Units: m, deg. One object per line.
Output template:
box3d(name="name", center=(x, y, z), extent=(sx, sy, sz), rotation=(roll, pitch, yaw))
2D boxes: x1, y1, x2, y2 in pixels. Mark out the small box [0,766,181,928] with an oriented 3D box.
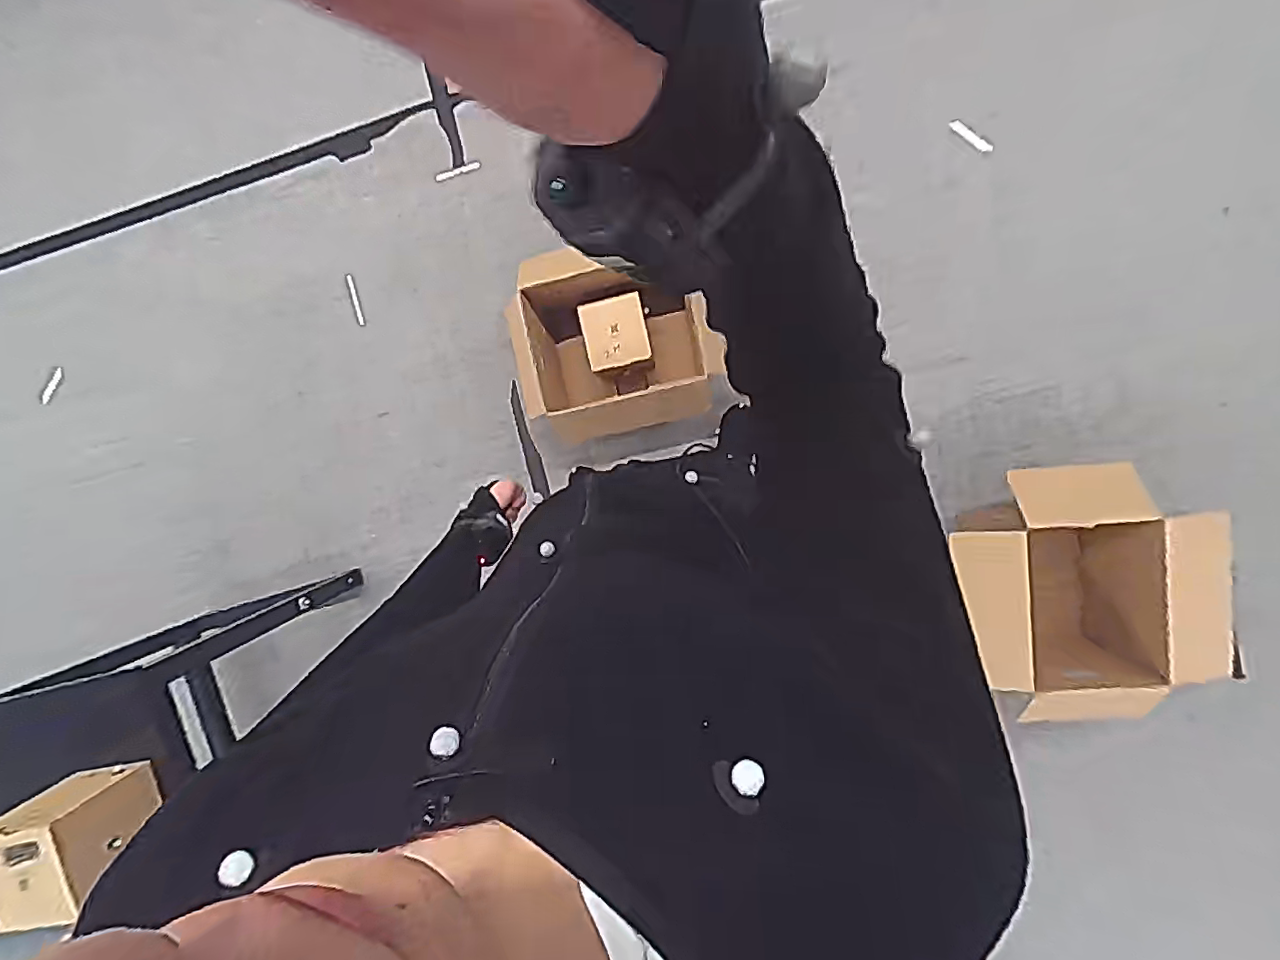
box3d(name="small box", center=(-0.987, 0.640, 0.967), extent=(0.168, 0.176, 0.179), rotation=(-12, 96, 7))
